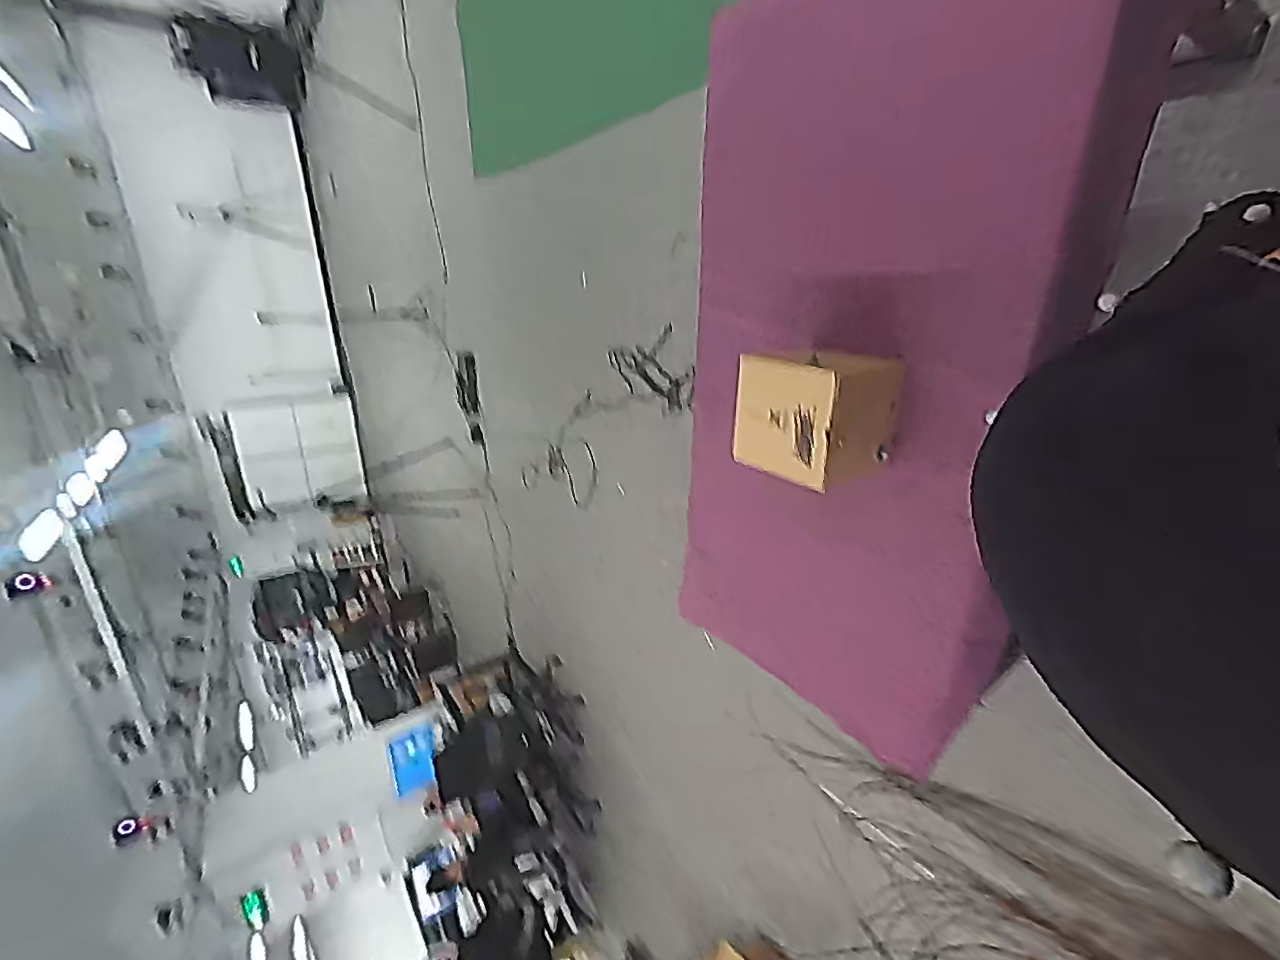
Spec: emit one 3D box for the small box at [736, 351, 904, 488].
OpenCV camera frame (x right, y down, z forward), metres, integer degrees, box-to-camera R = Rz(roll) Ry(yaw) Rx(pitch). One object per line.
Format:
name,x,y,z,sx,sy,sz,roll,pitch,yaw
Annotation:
small box,0.275,-0.105,0.836,0.179,0.176,0.168,27,122,49
